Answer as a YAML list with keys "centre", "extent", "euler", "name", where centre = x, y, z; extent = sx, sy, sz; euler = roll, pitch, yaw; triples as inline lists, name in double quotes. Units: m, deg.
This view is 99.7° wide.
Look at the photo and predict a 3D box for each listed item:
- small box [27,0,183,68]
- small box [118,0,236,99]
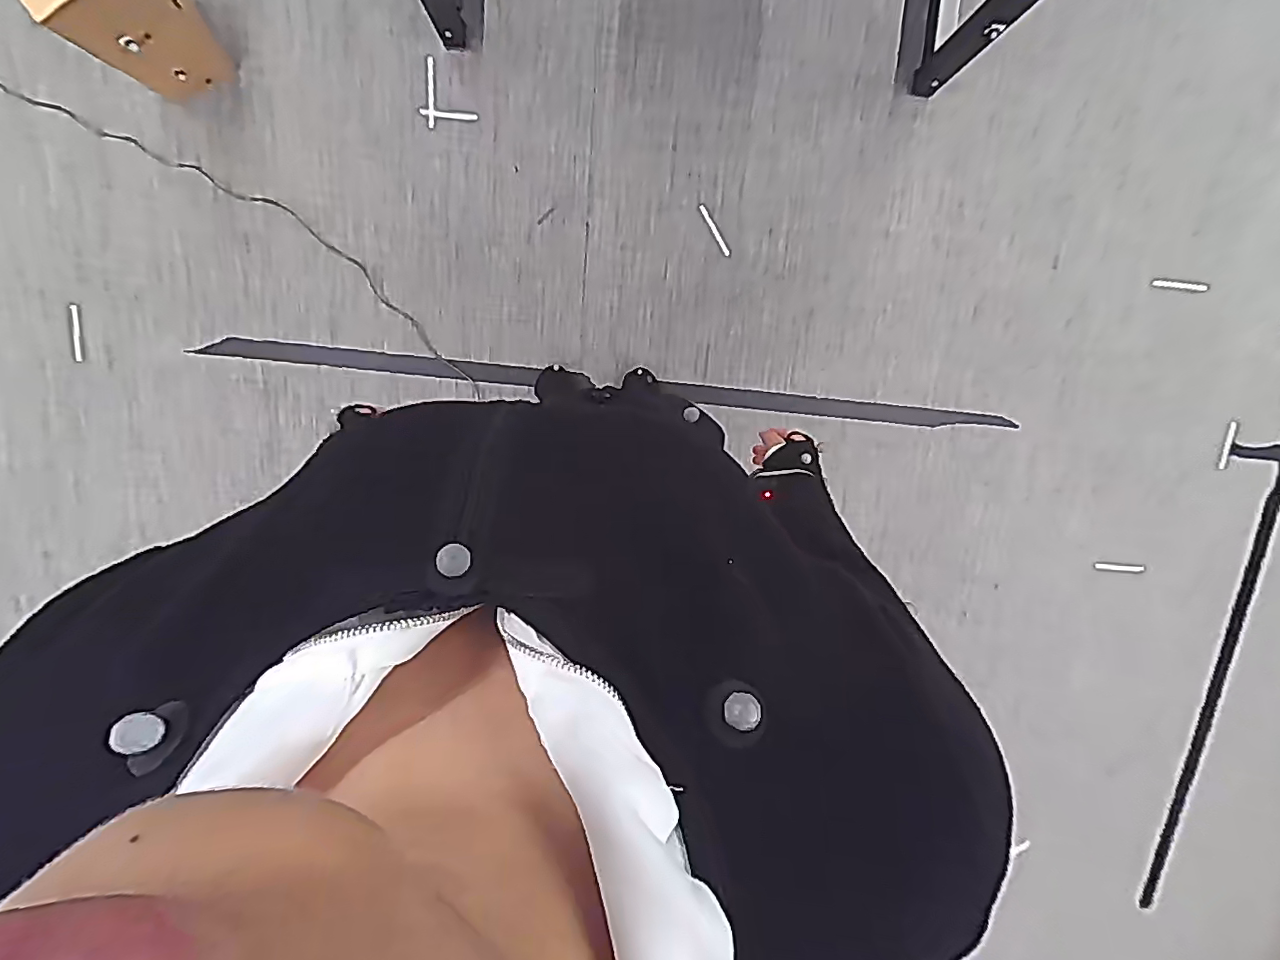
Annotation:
- centre: [-1.039, -0.943, 1.019]
  extent: [0.168, 0.176, 0.179]
  euler: [-32, 102, 5]
  name: "small box"
- centre: [-1.045, -0.978, 1.179]
  extent: [0.168, 0.176, 0.179]
  euler: [-27, 101, 2]
  name: "small box"
